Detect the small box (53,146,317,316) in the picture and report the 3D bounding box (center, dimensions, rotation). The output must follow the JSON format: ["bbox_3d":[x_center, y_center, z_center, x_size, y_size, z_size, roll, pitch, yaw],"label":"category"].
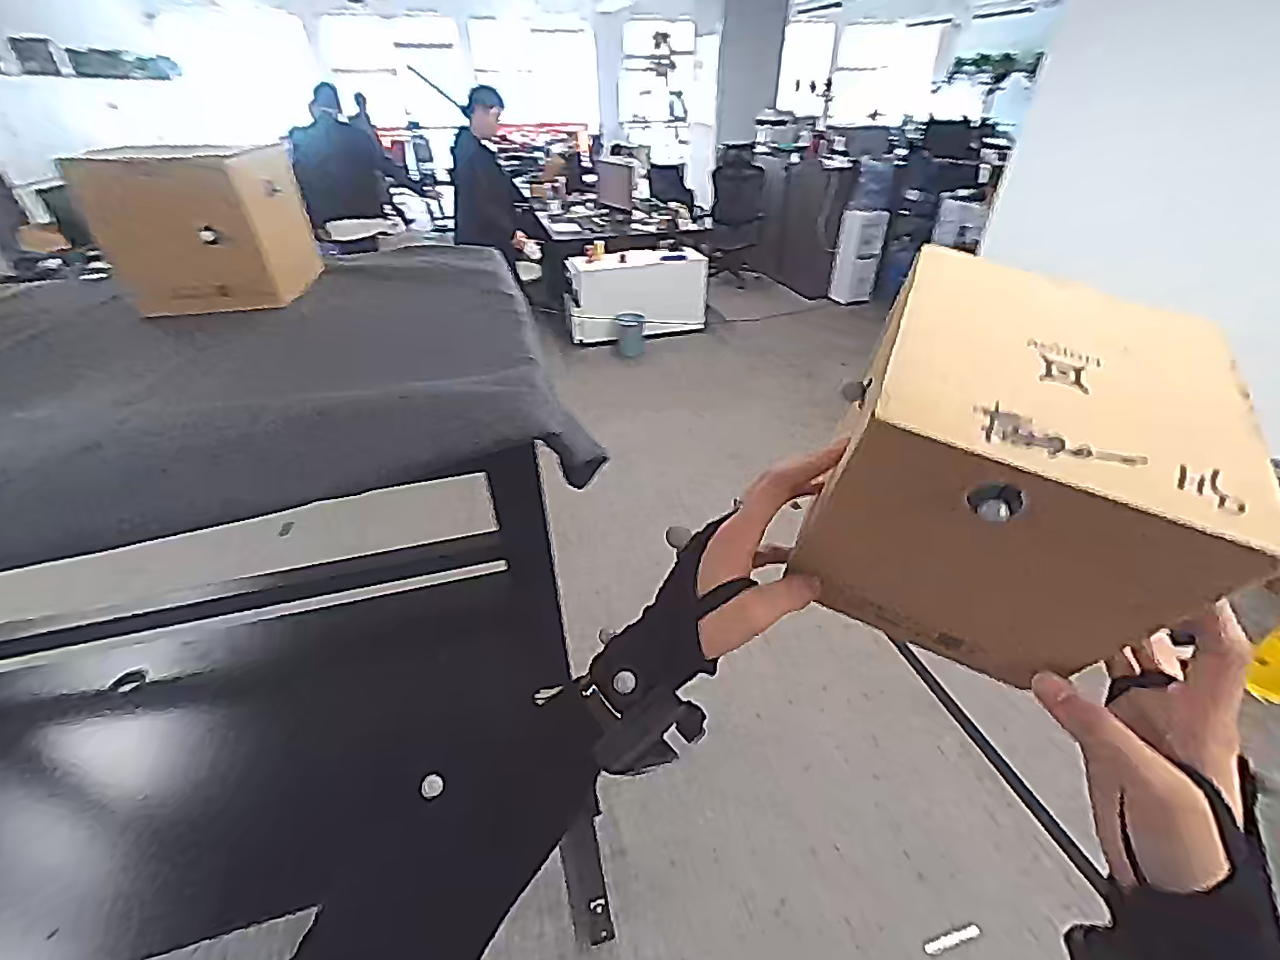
[{"bbox_3d":[-0.535,-0.309,0.674,0.168,0.176,0.179,-6,35,-9],"label":"small box"}]

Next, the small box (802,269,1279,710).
[{"bbox_3d":[0.218,0.006,0.335,0.168,0.176,0.179,23,53,14],"label":"small box"}]
